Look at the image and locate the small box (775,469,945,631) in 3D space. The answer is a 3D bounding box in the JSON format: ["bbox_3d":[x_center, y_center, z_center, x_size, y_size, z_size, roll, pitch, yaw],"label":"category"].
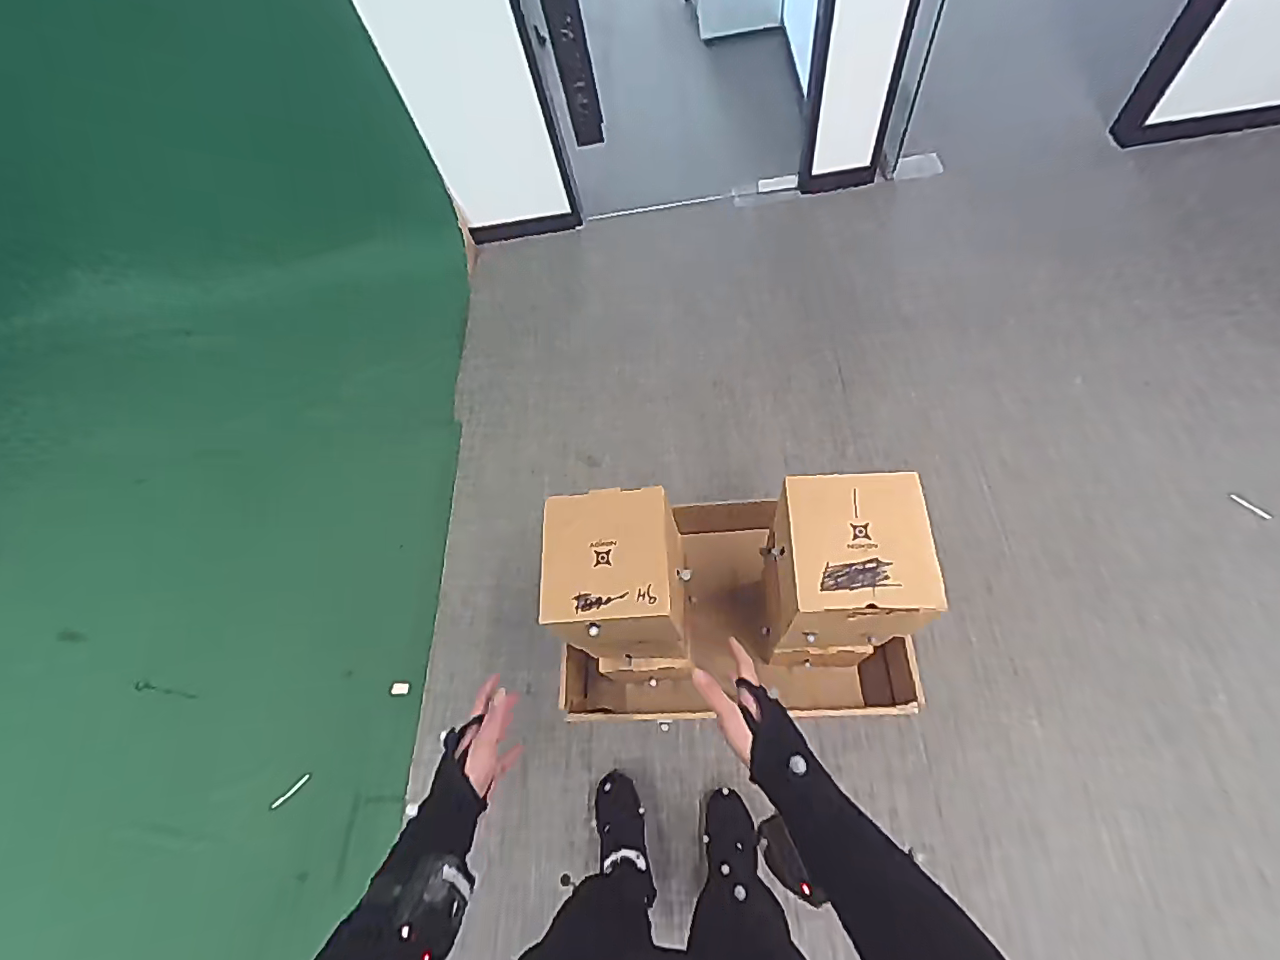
[{"bbox_3d":[0.276,0.101,0.722,0.168,0.176,0.179,-2,63,7],"label":"small box"}]

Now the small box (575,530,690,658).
[{"bbox_3d":[-0.006,0.194,0.909,0.168,0.176,0.179,-2,63,9],"label":"small box"}]

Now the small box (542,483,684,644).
[{"bbox_3d":[-0.029,0.123,0.764,0.168,0.176,0.179,-6,62,8],"label":"small box"}]
